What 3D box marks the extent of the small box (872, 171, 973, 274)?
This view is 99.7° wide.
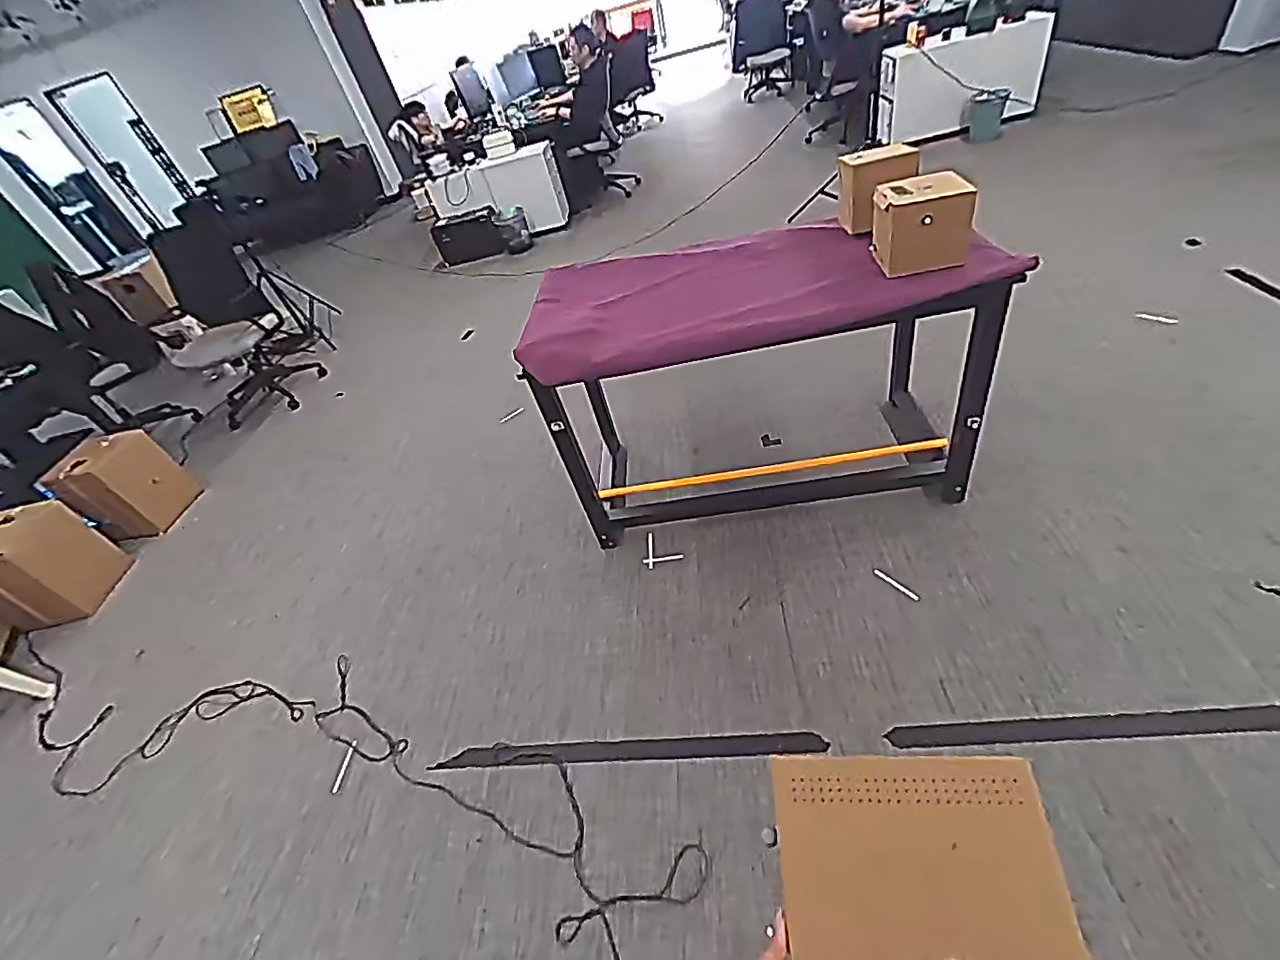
[{"bbox_3d":[0.667,-0.614,1.301,0.179,0.176,0.168,-7,41,11],"label":"small box"}]
